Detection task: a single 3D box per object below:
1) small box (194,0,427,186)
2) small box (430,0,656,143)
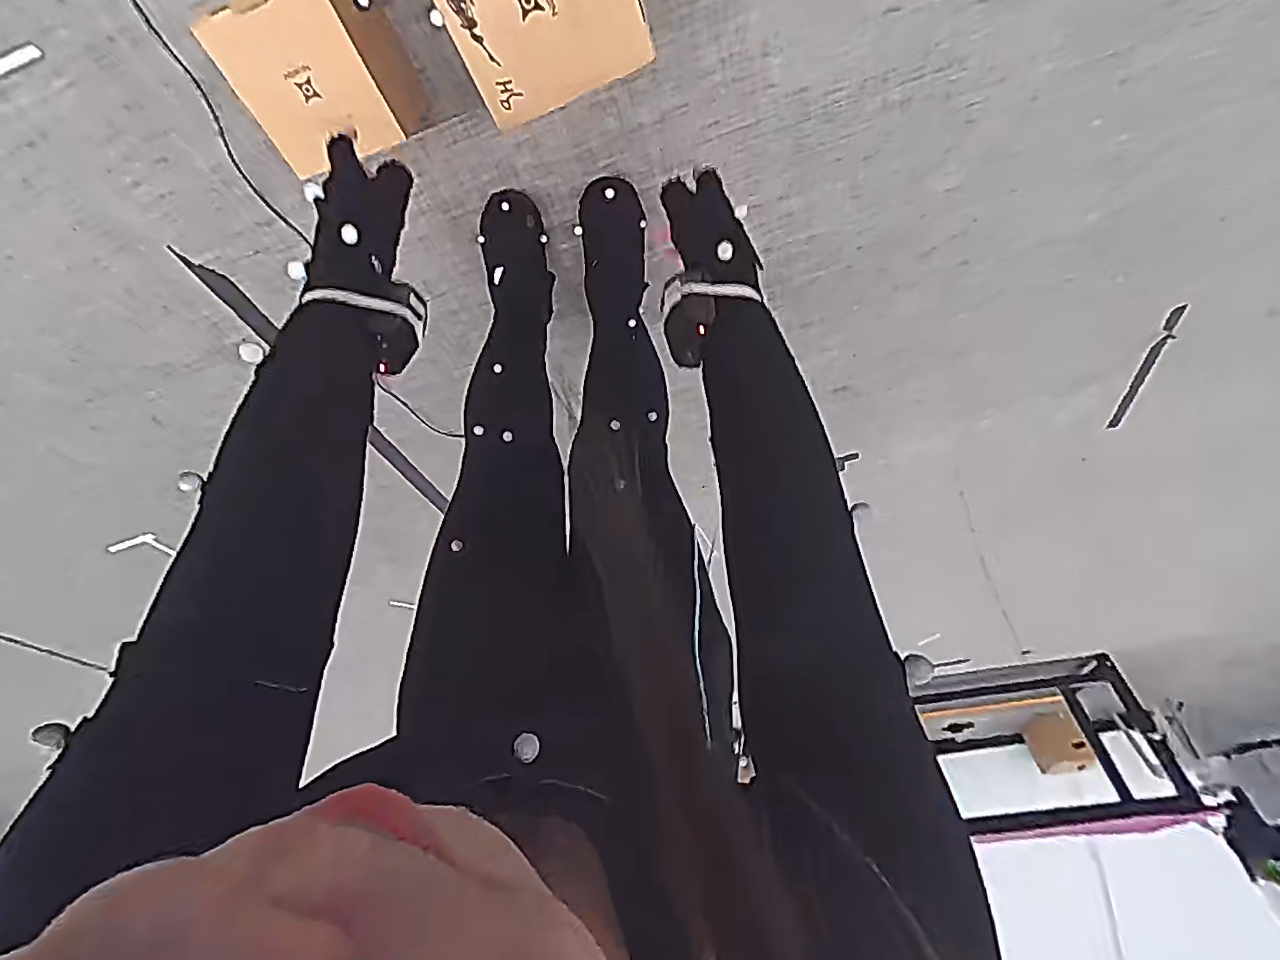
[{"bbox_3d":[-0.408,-0.529,0.707,0.168,0.176,0.179,-13,140,10],"label":"small box"},{"bbox_3d":[-0.098,-0.483,0.539,0.179,0.176,0.168,-17,138,12],"label":"small box"}]
